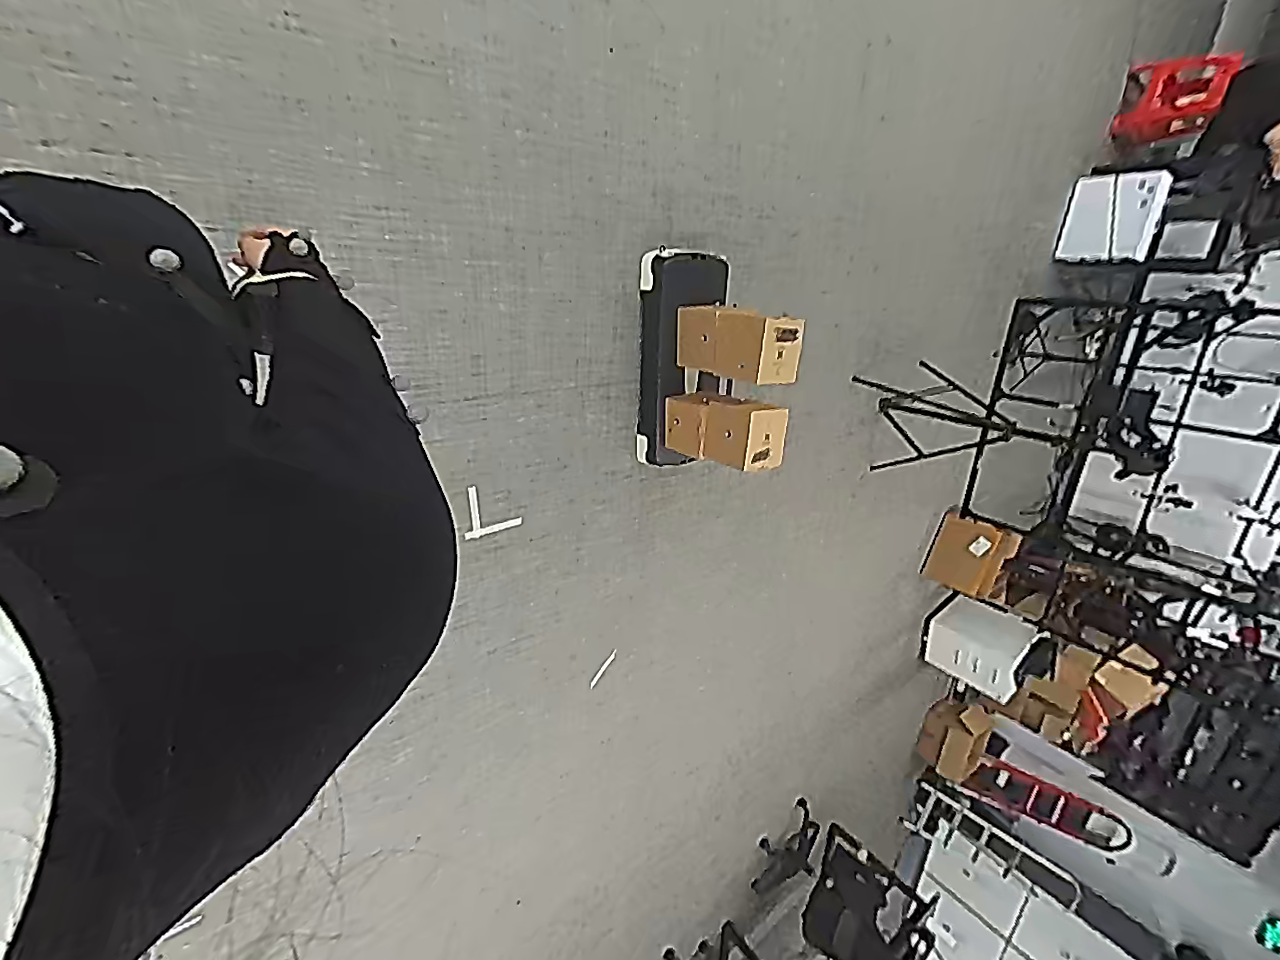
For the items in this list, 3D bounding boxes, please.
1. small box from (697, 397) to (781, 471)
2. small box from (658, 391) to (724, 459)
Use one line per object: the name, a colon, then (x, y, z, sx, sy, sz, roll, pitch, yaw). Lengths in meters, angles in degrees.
small box: (0.289, -0.141, 1.606, 0.168, 0.176, 0.179, -10, 114, -37)
small box: (0.177, -0.183, 1.721, 0.179, 0.176, 0.168, -16, 117, -34)
